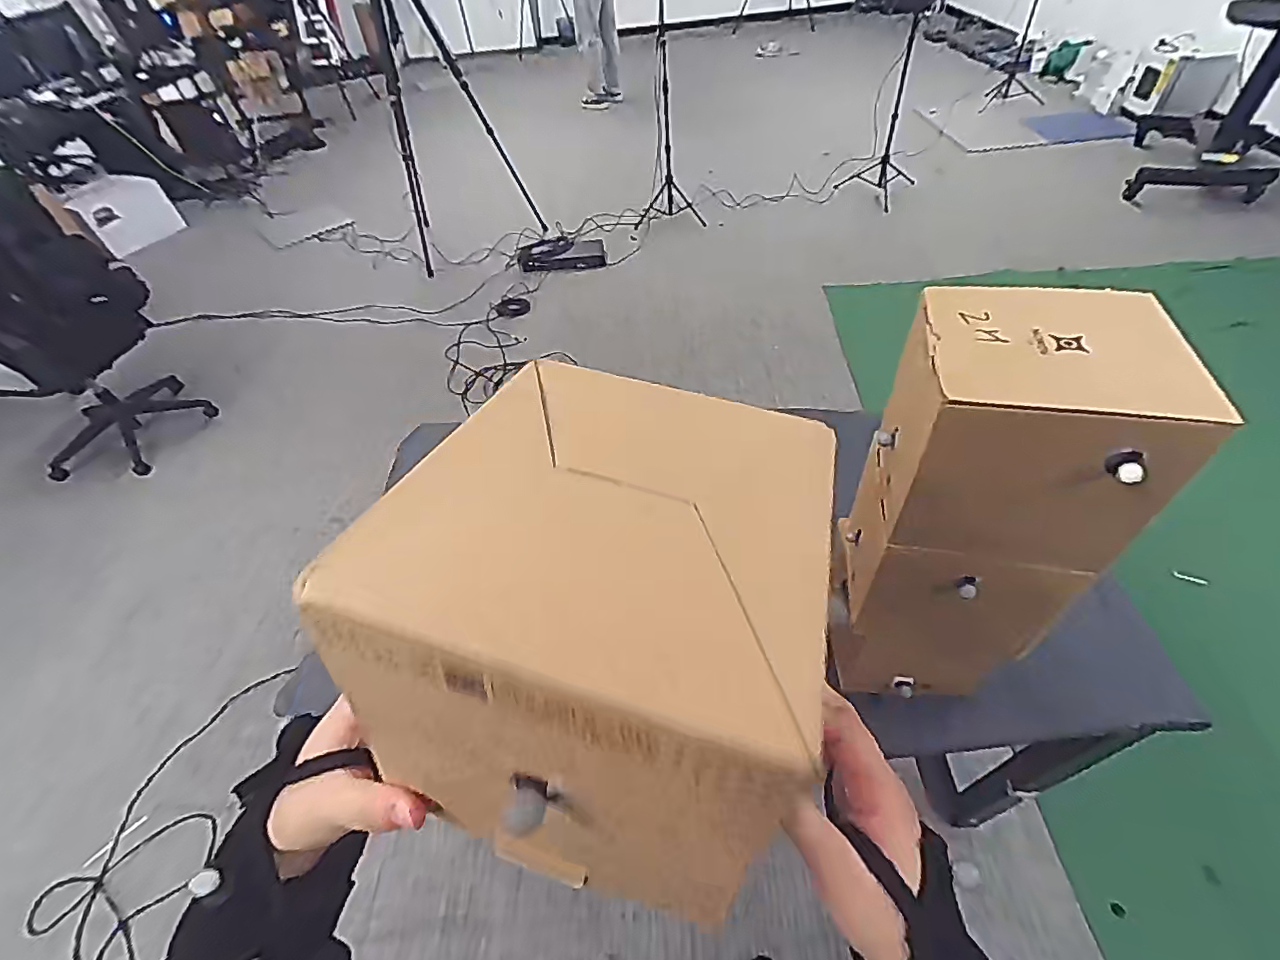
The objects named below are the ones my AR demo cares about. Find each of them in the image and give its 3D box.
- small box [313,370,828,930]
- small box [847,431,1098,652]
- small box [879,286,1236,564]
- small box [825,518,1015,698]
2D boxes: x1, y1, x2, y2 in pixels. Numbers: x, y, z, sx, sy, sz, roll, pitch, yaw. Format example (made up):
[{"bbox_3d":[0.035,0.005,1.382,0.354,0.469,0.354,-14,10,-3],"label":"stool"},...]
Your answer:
[{"bbox_3d":[-0.015,0.067,0.265,0.168,0.176,0.179,15,41,10],"label":"small box"},{"bbox_3d":[0.332,0.068,0.585,0.179,0.176,0.168,5,48,14],"label":"small box"},{"bbox_3d":[0.319,-0.046,0.466,0.179,0.176,0.168,7,48,15],"label":"small box"},{"bbox_3d":[0.348,0.167,0.713,0.168,0.176,0.179,-3,48,6],"label":"small box"}]
